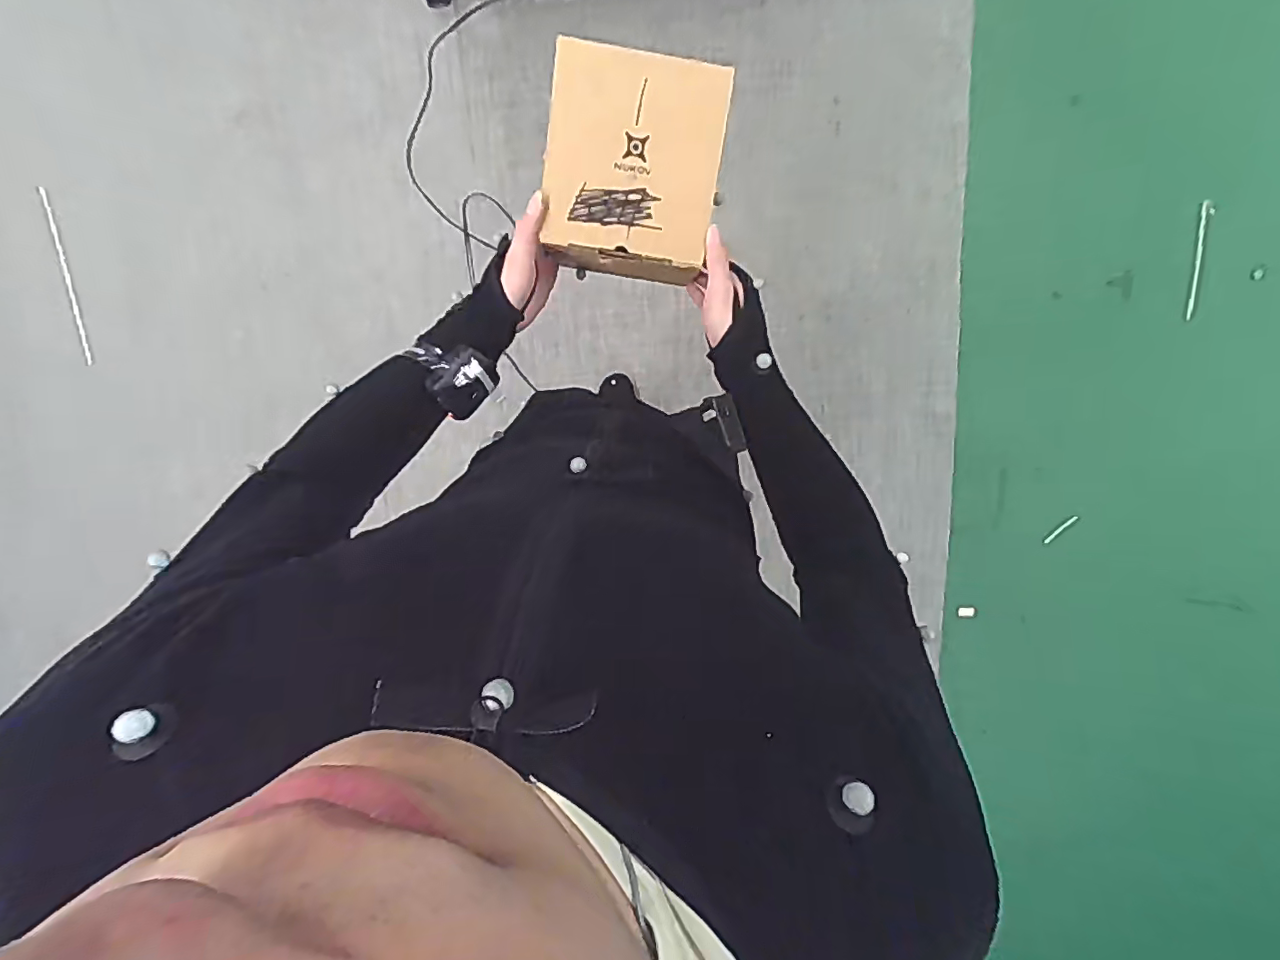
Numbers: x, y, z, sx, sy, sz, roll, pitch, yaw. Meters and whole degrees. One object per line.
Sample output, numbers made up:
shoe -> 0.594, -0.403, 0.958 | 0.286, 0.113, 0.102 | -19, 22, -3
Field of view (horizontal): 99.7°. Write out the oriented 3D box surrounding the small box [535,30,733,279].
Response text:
small box -> -0.009, -0.322, 0.578 | 0.168, 0.176, 0.179 | 7, 103, -4

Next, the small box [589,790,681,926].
small box -> -0.009, 0.770, 1.115 | 0.179, 0.176, 0.168 | -1, 100, 1
